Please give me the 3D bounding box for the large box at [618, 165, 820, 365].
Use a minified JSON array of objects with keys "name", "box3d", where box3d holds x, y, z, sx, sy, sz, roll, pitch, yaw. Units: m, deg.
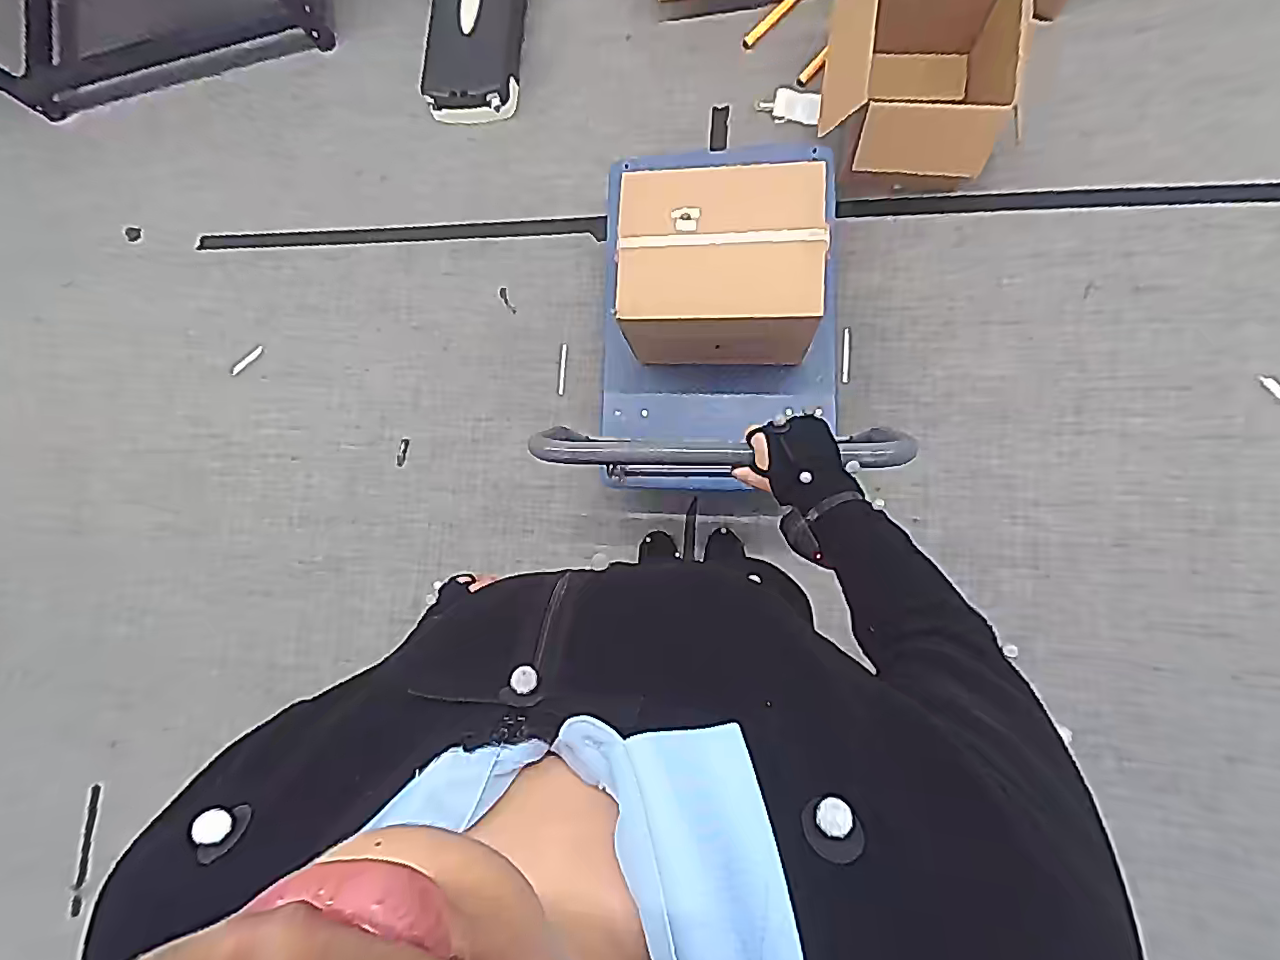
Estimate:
[{"name":"large box","box3d":[0.180,-0.456,1.228,0.408,0.320,0.320,1,84,10]}]
